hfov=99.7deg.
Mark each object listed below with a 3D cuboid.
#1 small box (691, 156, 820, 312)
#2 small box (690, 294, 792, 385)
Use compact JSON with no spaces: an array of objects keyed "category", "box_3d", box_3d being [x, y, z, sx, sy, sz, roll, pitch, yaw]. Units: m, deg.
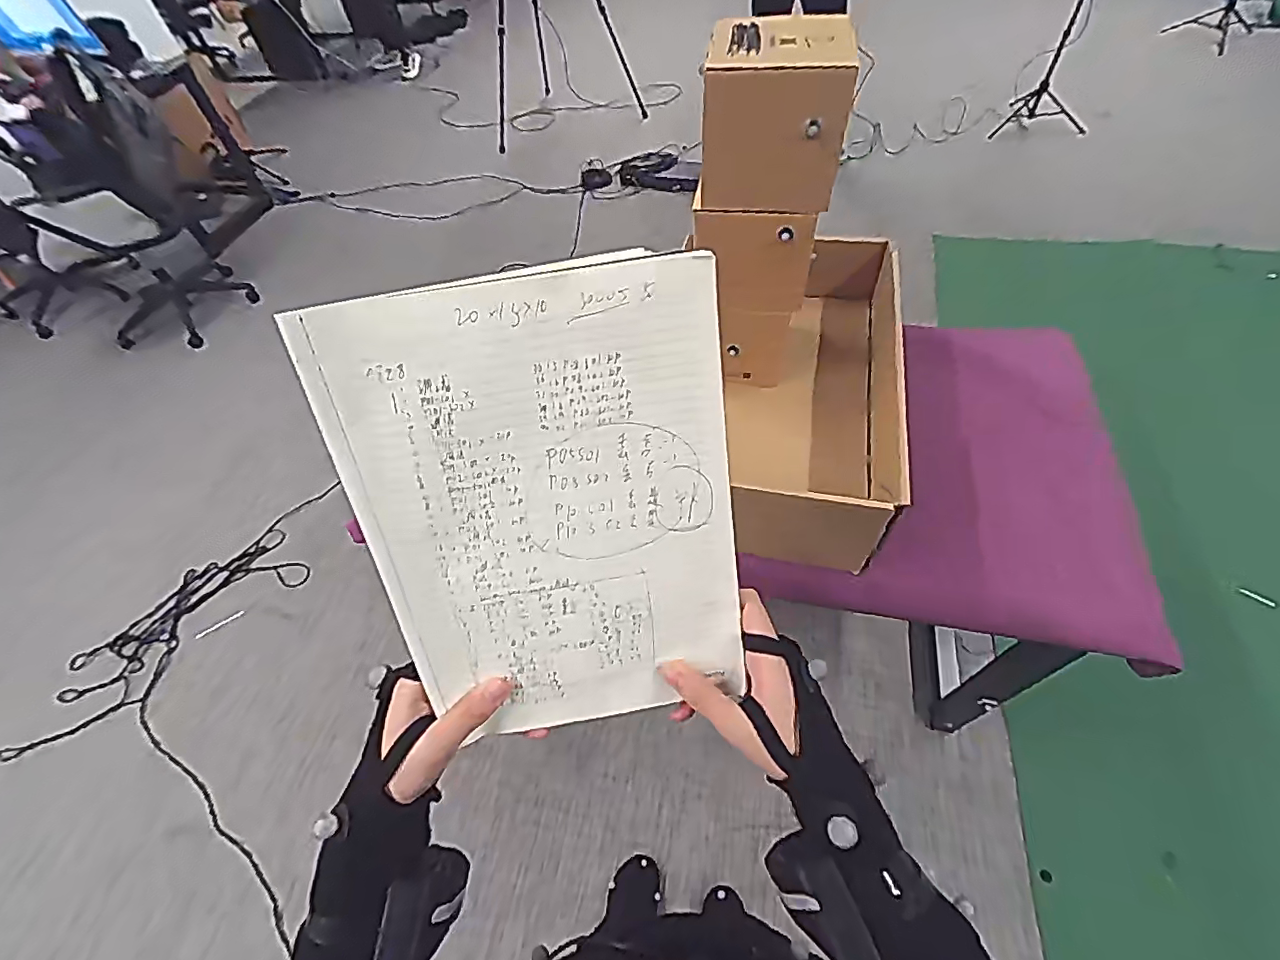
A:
[{"category":"small box","box_3d":[0.180,-0.386,0.856,0.179,0.176,0.168,7,56,11]},{"category":"small box","box_3d":[0.190,-0.296,0.990,0.168,0.176,0.179,9,57,12]}]
